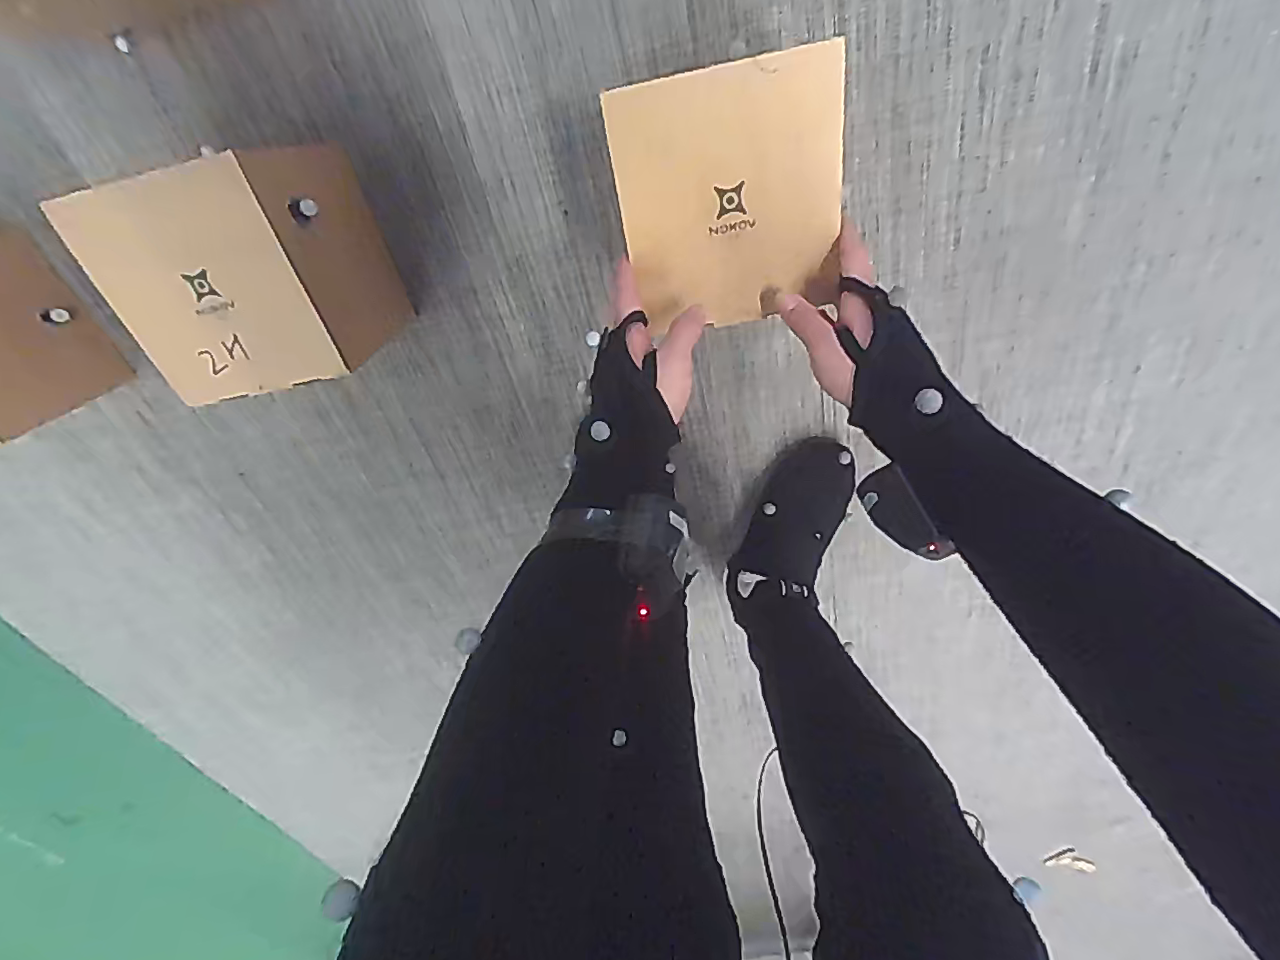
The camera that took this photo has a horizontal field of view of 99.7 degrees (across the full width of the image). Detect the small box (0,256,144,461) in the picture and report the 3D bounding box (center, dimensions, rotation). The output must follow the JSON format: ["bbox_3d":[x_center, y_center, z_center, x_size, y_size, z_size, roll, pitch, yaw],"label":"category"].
[{"bbox_3d":[-0.704,-0.122,0.566,0.168,0.176,0.179,-11,122,9],"label":"small box"}]

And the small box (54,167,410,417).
[{"bbox_3d":[-0.356,-0.186,0.518,0.168,0.176,0.179,-10,123,8],"label":"small box"}]

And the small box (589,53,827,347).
[{"bbox_3d":[0.058,-0.241,0.474,0.168,0.176,0.179,-9,124,7],"label":"small box"}]
